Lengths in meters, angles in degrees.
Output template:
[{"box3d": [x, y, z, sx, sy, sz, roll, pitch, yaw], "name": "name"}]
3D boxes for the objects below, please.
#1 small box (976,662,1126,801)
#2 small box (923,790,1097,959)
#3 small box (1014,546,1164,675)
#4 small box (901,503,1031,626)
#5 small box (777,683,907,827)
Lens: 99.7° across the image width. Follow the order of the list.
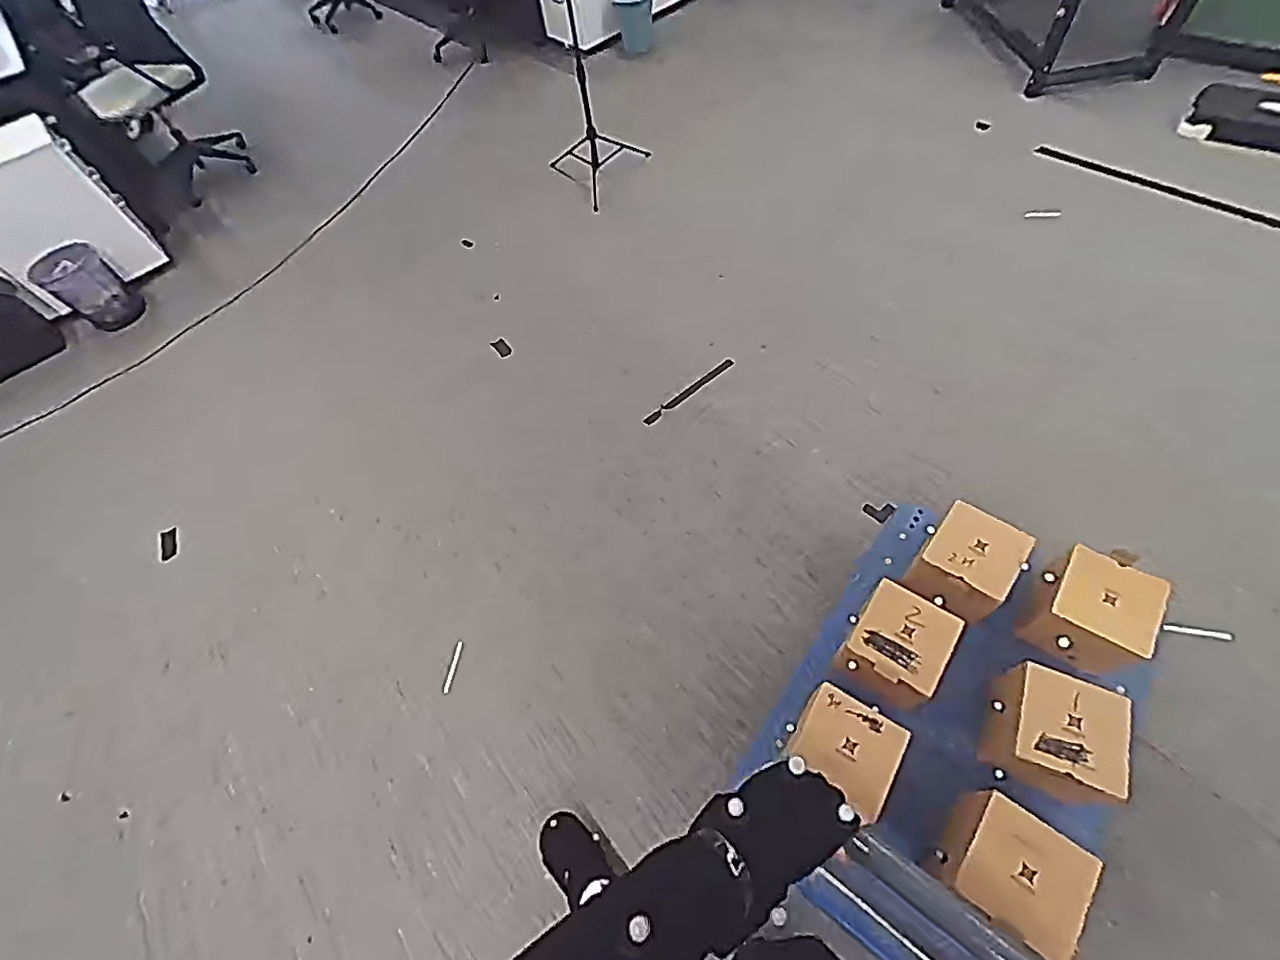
[{"box3d": [0.757, 0.475, 1.010, 0.168, 0.176, 0.179, 20, 62, 19], "name": "small box"}, {"box3d": [0.609, 0.663, 0.915, 0.168, 0.176, 0.179, 32, 67, 23], "name": "small box"}, {"box3d": [0.912, 0.275, 1.115, 0.168, 0.176, 0.179, 28, 66, 23], "name": "small box"}, {"box3d": [0.707, 0.189, 1.193, 0.168, 0.176, 0.179, 33, 69, 25], "name": "small box"}, {"box3d": [0.374, 0.524, 1.031, 0.168, 0.176, 0.179, 29, 66, 22], "name": "small box"}]
